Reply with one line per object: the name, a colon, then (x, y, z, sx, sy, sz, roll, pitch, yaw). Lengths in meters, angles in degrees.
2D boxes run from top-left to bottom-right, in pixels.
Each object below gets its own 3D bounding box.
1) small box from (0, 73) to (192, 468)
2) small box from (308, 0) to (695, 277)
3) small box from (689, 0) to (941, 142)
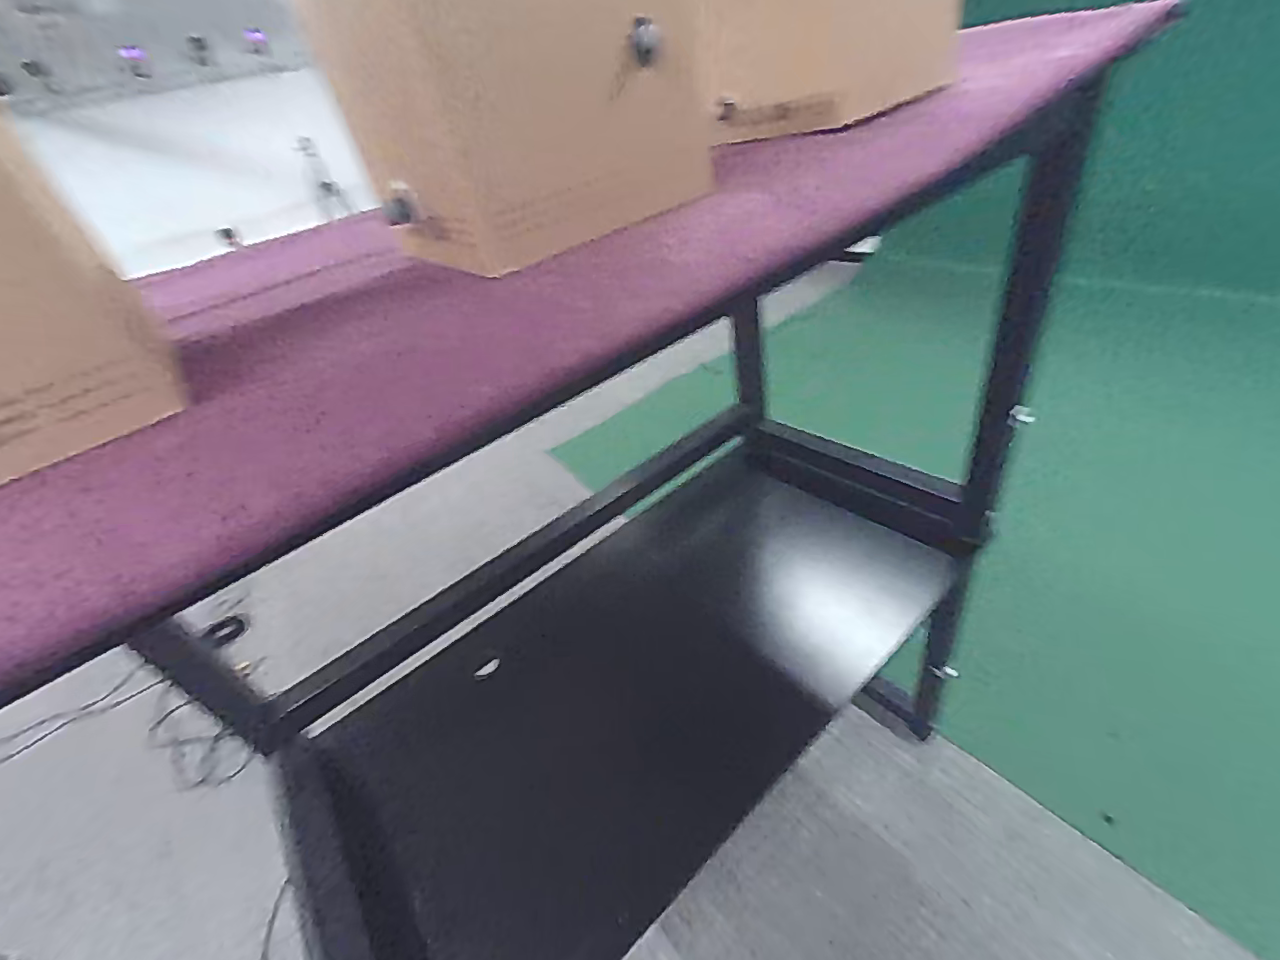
small box: (-0.318, -0.092, 0.211, 0.168, 0.176, 0.179, -33, 41, -27)
small box: (-0.079, -0.252, 0.354, 0.179, 0.176, 0.168, -35, 41, -25)
small box: (0.169, -0.437, 0.516, 0.179, 0.176, 0.168, -32, 38, -24)
